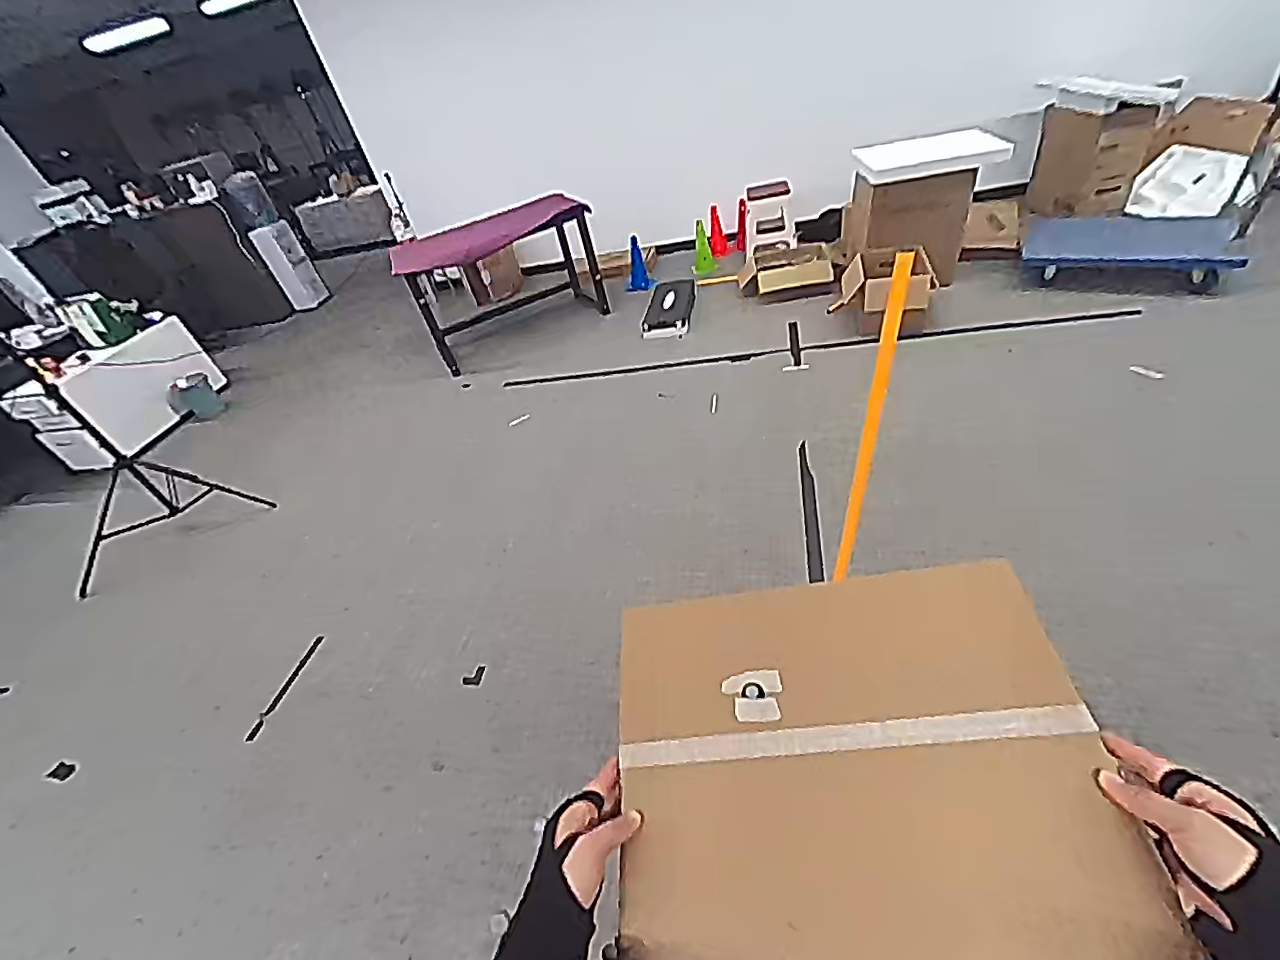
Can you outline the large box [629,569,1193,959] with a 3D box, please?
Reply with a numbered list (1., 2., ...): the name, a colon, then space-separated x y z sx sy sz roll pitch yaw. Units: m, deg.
1. large box: 0.224 0.338 0.606 0.408 0.320 0.320 -11 47 12
